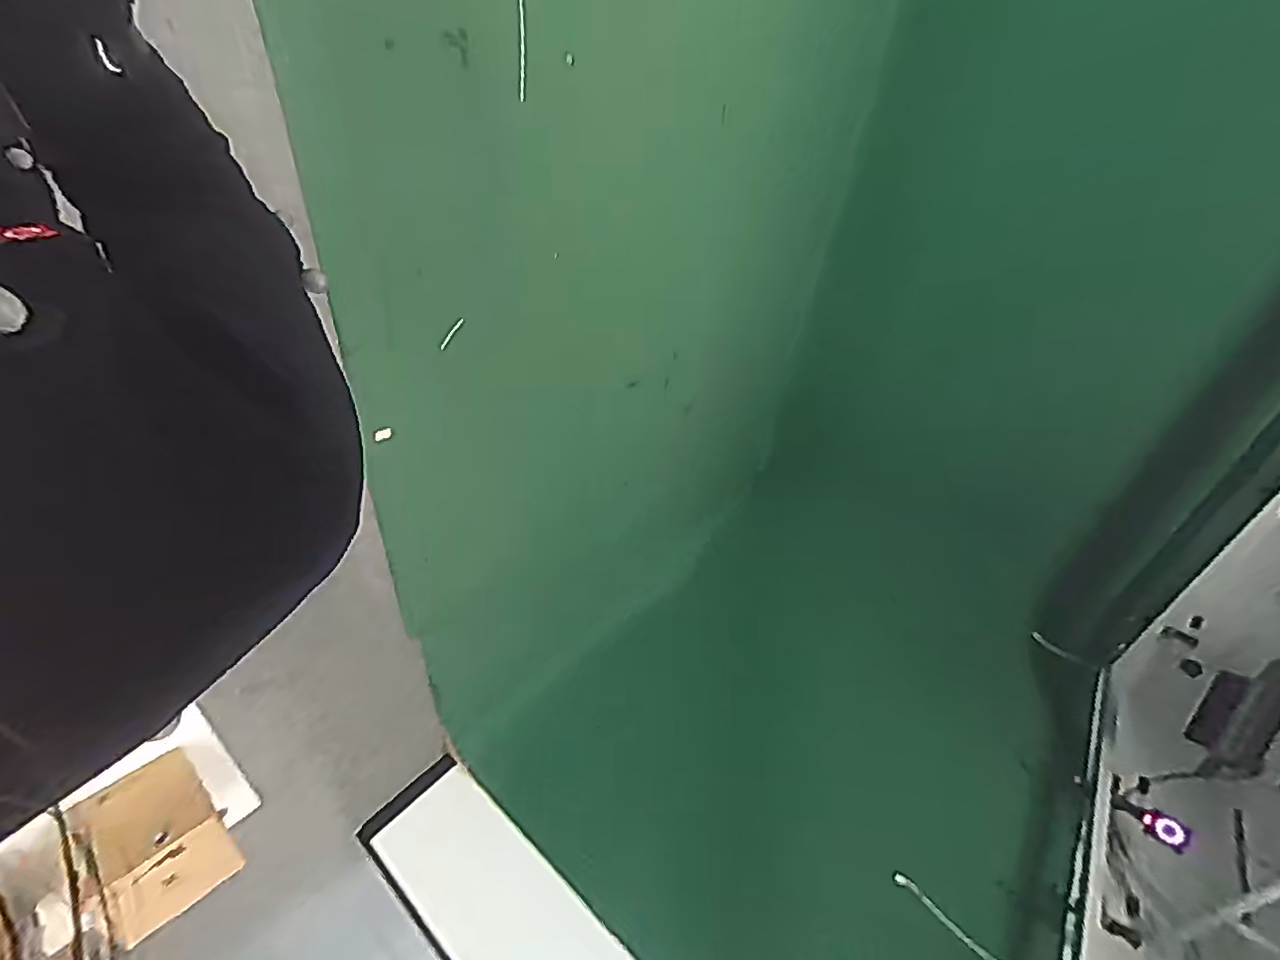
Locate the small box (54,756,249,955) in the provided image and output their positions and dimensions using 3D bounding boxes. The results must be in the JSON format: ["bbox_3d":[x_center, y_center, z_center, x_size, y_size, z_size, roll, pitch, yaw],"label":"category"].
[{"bbox_3d":[-0.773,0.589,0.866,0.168,0.176,0.179,-31,140,-43],"label":"small box"}]

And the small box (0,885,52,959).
[{"bbox_3d":[-0.920,0.669,0.703,0.168,0.176,0.179,-32,140,-42],"label":"small box"}]
